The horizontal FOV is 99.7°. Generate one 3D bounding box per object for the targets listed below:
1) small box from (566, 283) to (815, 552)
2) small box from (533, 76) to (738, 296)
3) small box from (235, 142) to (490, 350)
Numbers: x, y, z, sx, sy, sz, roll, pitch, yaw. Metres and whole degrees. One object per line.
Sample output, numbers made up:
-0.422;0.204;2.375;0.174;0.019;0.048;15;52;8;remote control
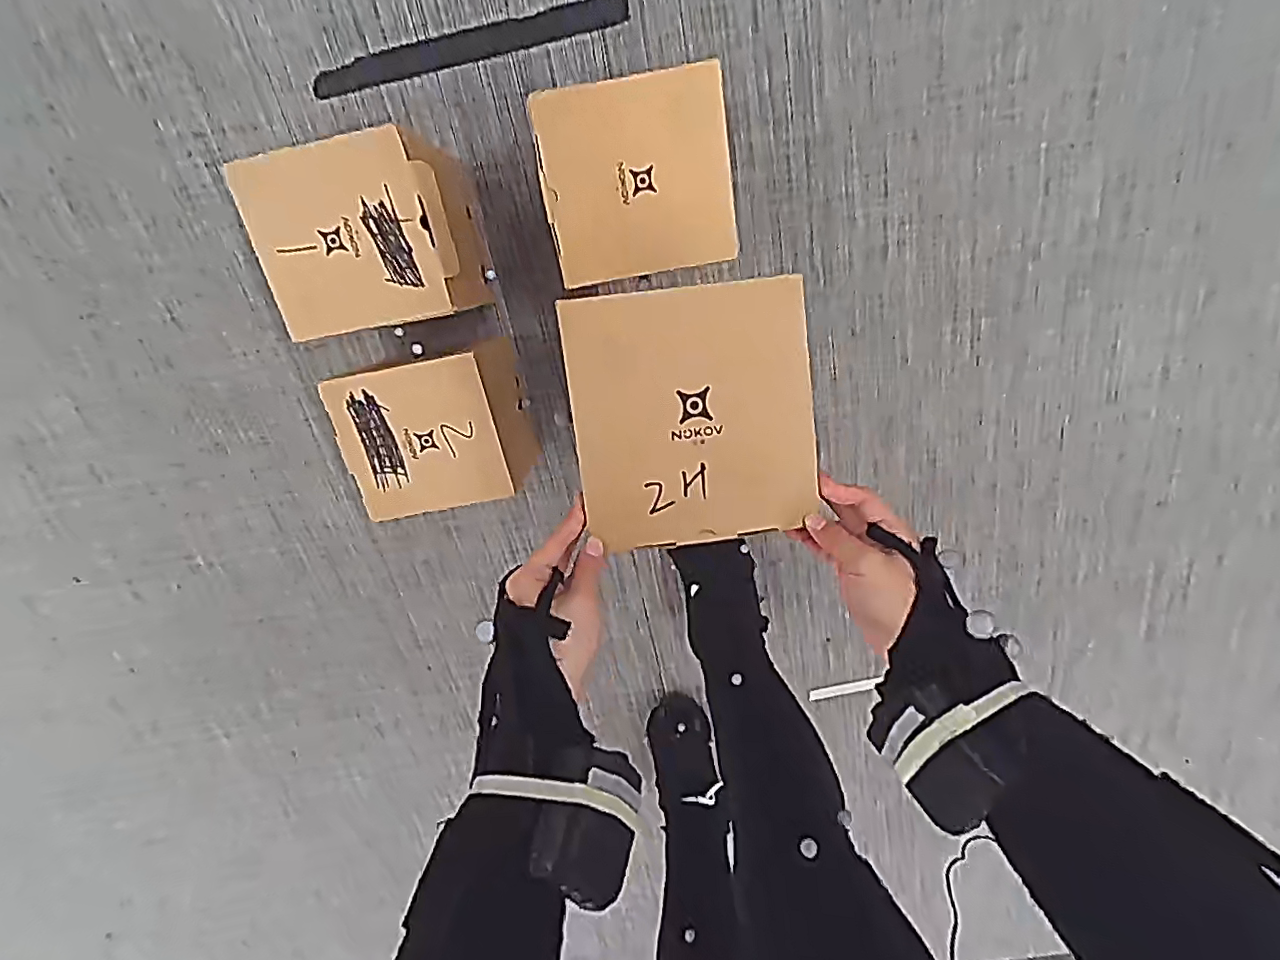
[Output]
0.033;-0.052;0.458;0.168;0.176;0.179;-7;99;-2;small box
-0.001;-0.303;0.586;0.179;0.176;0.168;-9;112;4;small box
-0.280;-0.254;0.602;0.179;0.176;0.168;-10;112;4;small box
